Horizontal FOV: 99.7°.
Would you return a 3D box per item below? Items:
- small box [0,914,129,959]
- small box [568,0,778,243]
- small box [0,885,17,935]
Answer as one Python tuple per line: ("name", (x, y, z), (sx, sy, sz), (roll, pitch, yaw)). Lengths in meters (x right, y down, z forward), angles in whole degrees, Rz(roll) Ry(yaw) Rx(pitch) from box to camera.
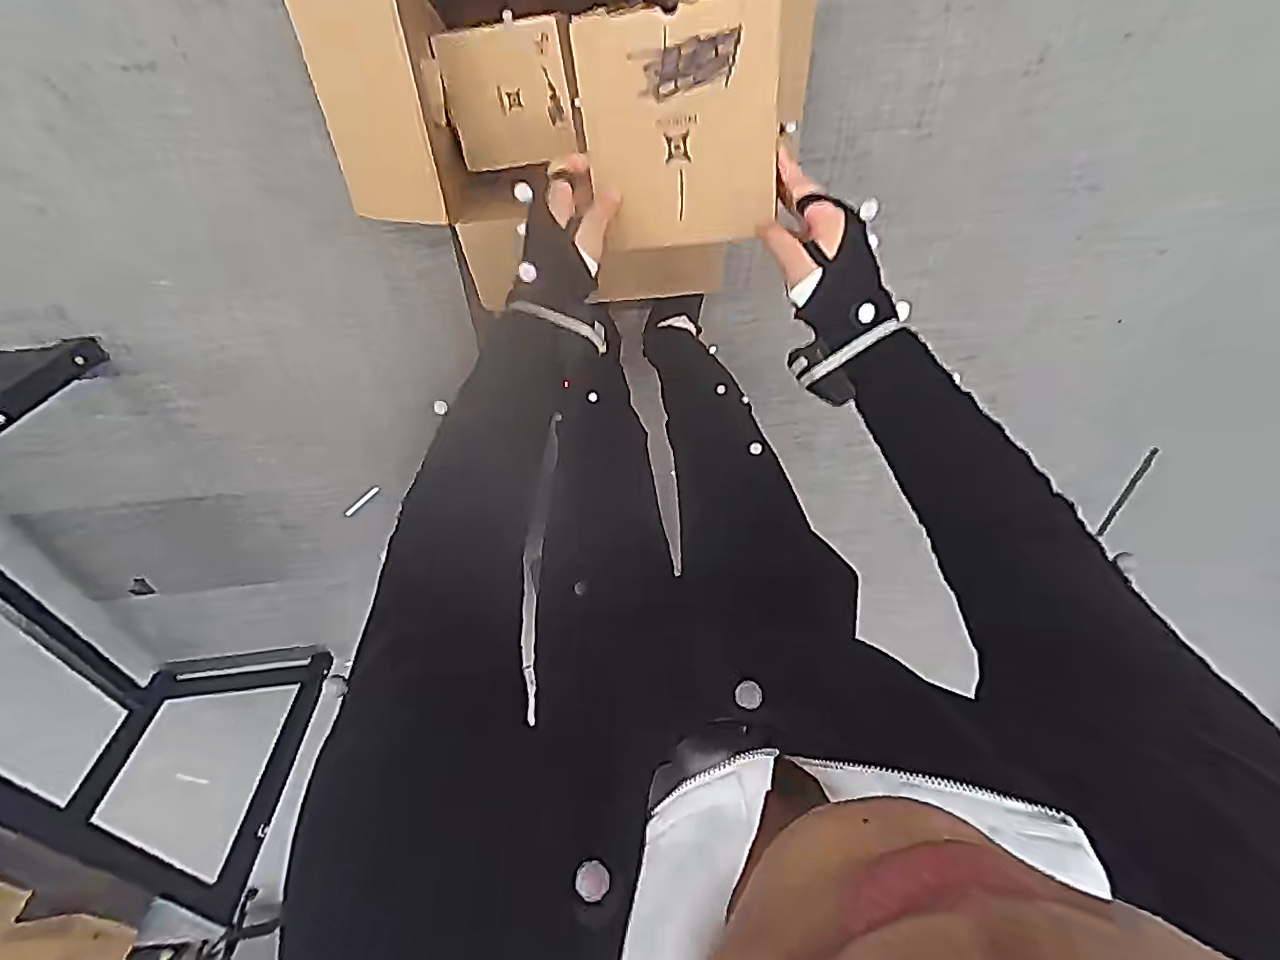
("small box", (-1.204, 1.008, 1.096), (0.179, 0.176, 0.168), (-9, 128, 2))
("small box", (0.046, -0.343, 0.523), (0.168, 0.176, 0.179), (2, 125, 15))
("small box", (-1.223, 0.773, 0.898), (0.179, 0.176, 0.168), (-5, 129, -2))
